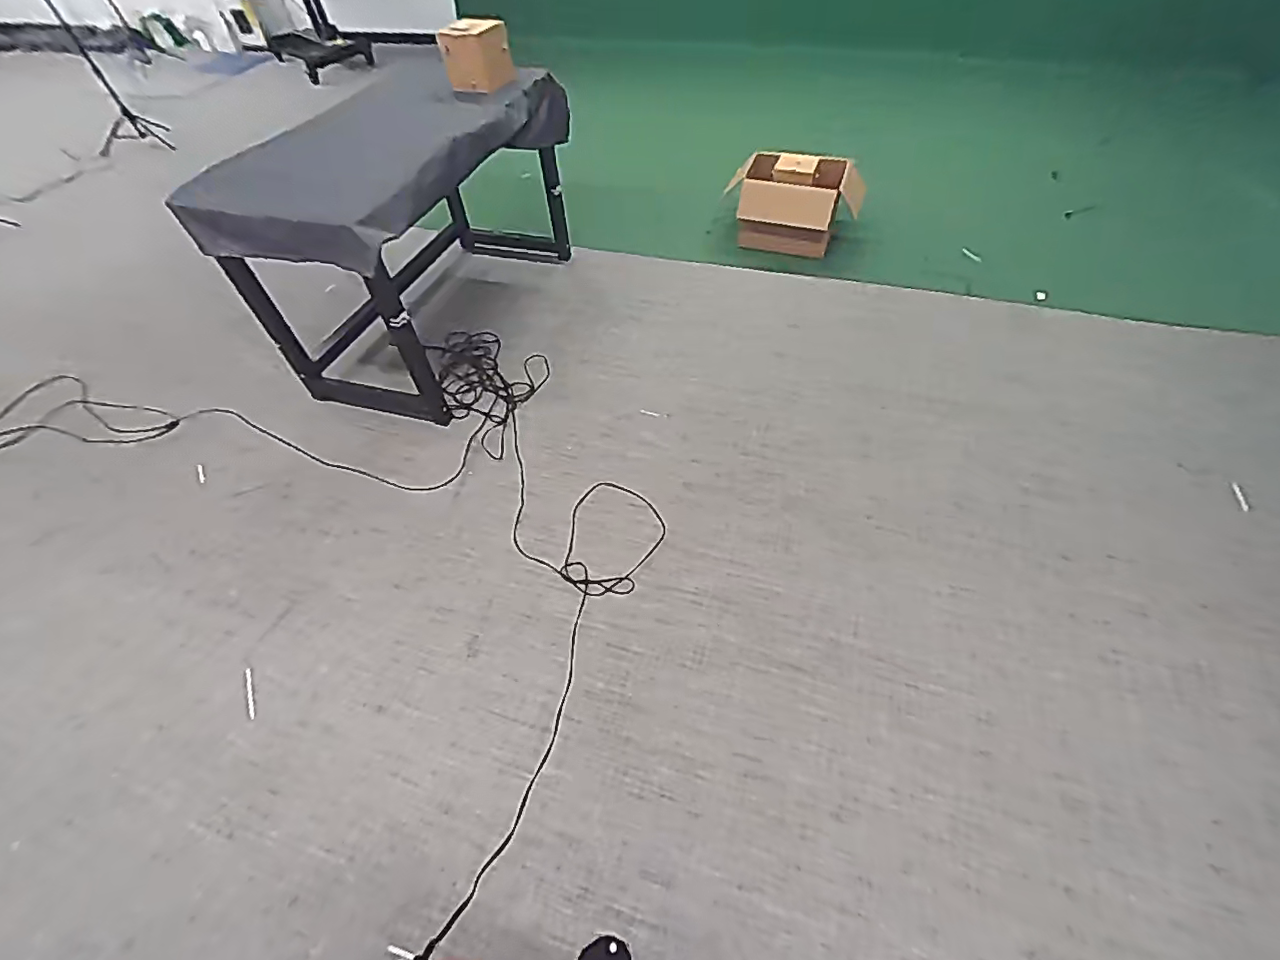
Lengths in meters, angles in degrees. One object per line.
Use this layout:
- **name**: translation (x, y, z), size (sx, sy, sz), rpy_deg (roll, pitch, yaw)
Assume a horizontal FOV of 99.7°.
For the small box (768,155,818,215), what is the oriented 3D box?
- **small box**: translation (0.670, -1.297, 2.377), size (0.168, 0.176, 0.179), rpy_deg (16, 54, 15)
